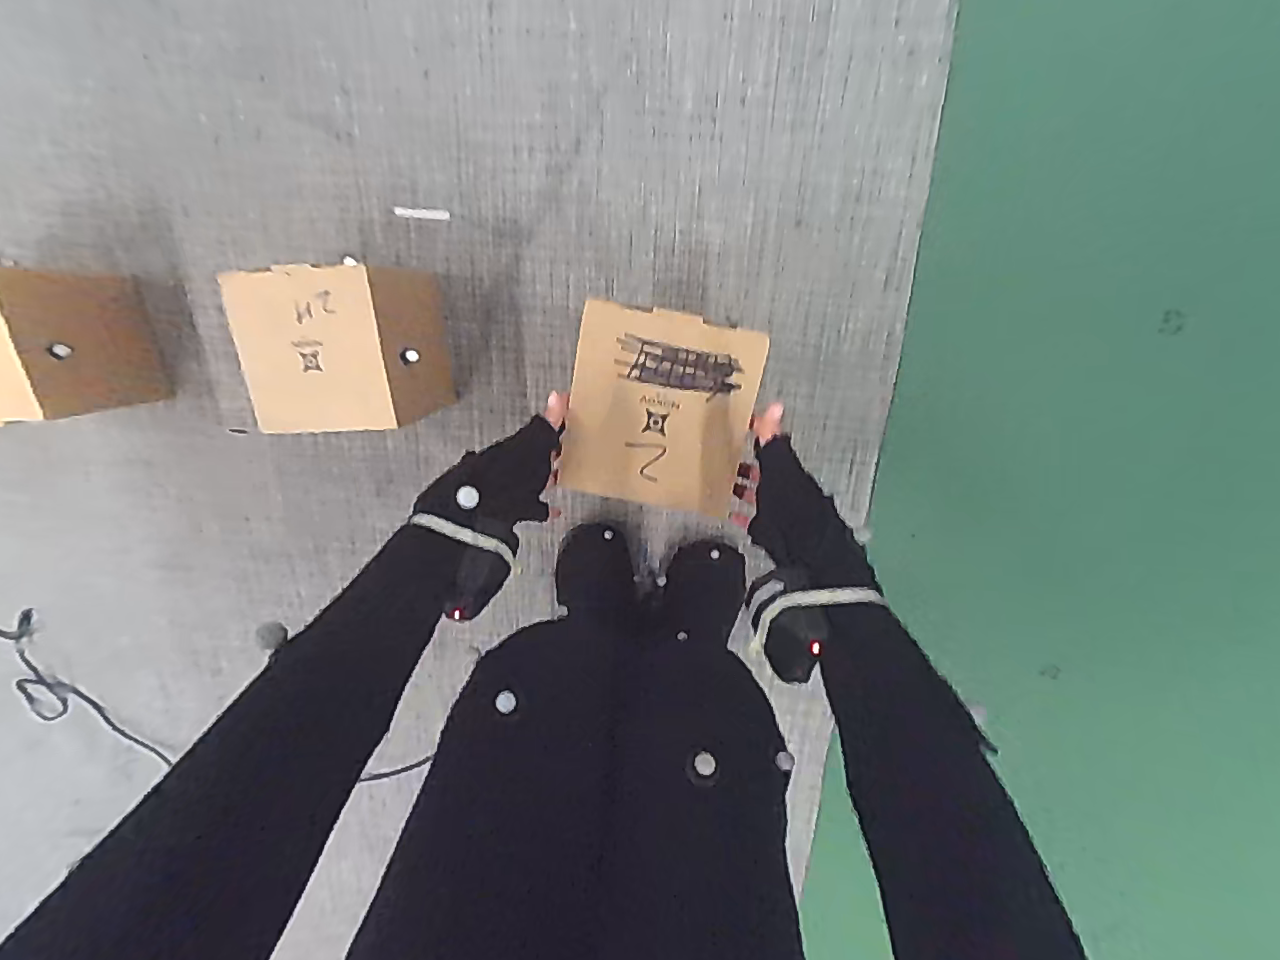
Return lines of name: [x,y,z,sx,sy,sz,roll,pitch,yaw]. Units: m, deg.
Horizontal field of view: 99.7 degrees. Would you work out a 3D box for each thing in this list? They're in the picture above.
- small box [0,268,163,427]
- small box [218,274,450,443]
small box: [-0.772,-0.167,0.684,0.168,0.176,0.179,-2,108,6]
small box: [-0.347,-0.151,0.654,0.168,0.176,0.179,-1,108,4]
